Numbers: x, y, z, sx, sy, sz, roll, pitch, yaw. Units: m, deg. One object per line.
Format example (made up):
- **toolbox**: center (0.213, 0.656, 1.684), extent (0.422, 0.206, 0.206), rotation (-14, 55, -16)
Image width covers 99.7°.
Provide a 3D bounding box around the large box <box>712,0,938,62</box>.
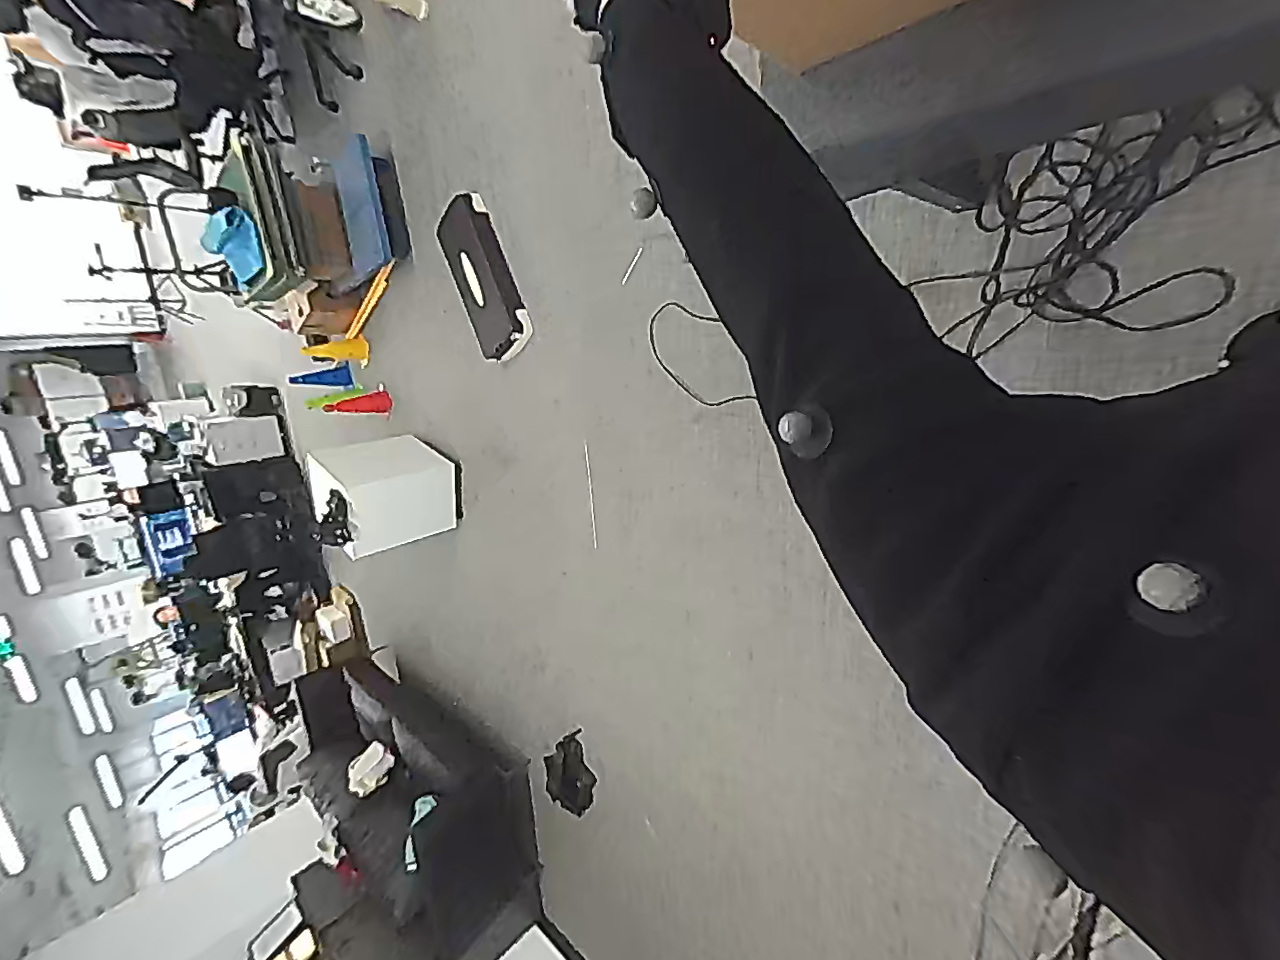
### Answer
- **large box**: center (0.211, -0.562, 0.337), extent (0.408, 0.320, 0.320), rotation (6, 108, 42)
